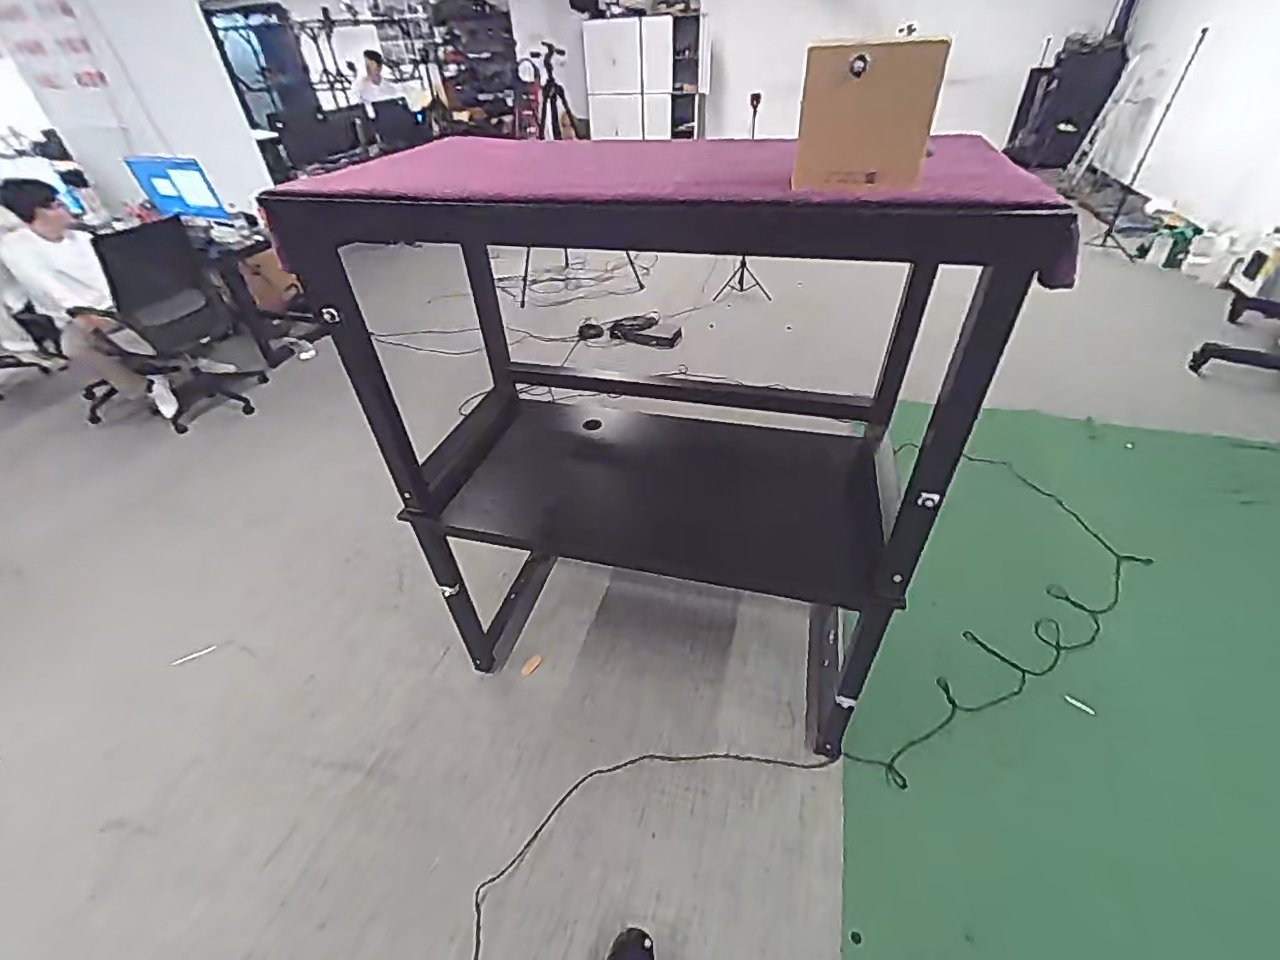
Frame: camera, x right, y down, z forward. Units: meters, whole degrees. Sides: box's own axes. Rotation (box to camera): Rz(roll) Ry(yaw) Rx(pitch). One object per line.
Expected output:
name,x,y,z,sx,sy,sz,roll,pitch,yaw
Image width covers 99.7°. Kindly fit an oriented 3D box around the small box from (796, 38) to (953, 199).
small box,0.321,-0.508,0.760,0.168,0.176,0.179,10,41,18
